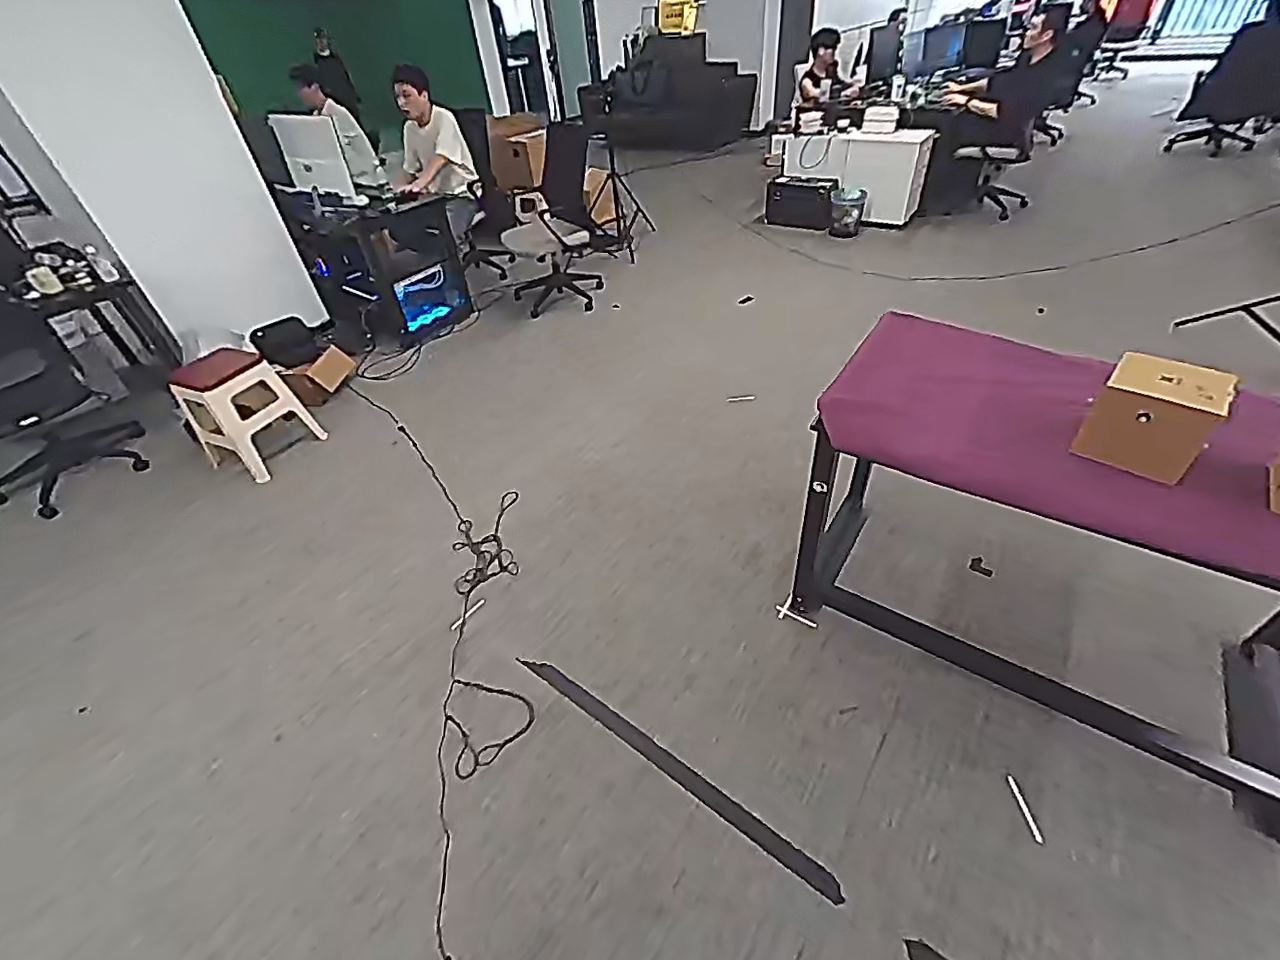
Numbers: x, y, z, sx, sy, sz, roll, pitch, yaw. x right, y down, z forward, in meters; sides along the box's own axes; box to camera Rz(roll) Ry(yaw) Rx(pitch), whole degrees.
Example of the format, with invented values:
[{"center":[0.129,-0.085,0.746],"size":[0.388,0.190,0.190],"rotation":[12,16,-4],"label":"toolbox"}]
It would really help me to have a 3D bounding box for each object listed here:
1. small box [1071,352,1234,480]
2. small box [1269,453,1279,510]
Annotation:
[{"center":[1.006,-0.127,1.075],"size":[0.179,0.176,0.168],"rotation":[30,53,33],"label":"small box"},{"center":[1.240,-0.017,0.923],"size":[0.179,0.176,0.168],"rotation":[26,49,31],"label":"small box"}]
